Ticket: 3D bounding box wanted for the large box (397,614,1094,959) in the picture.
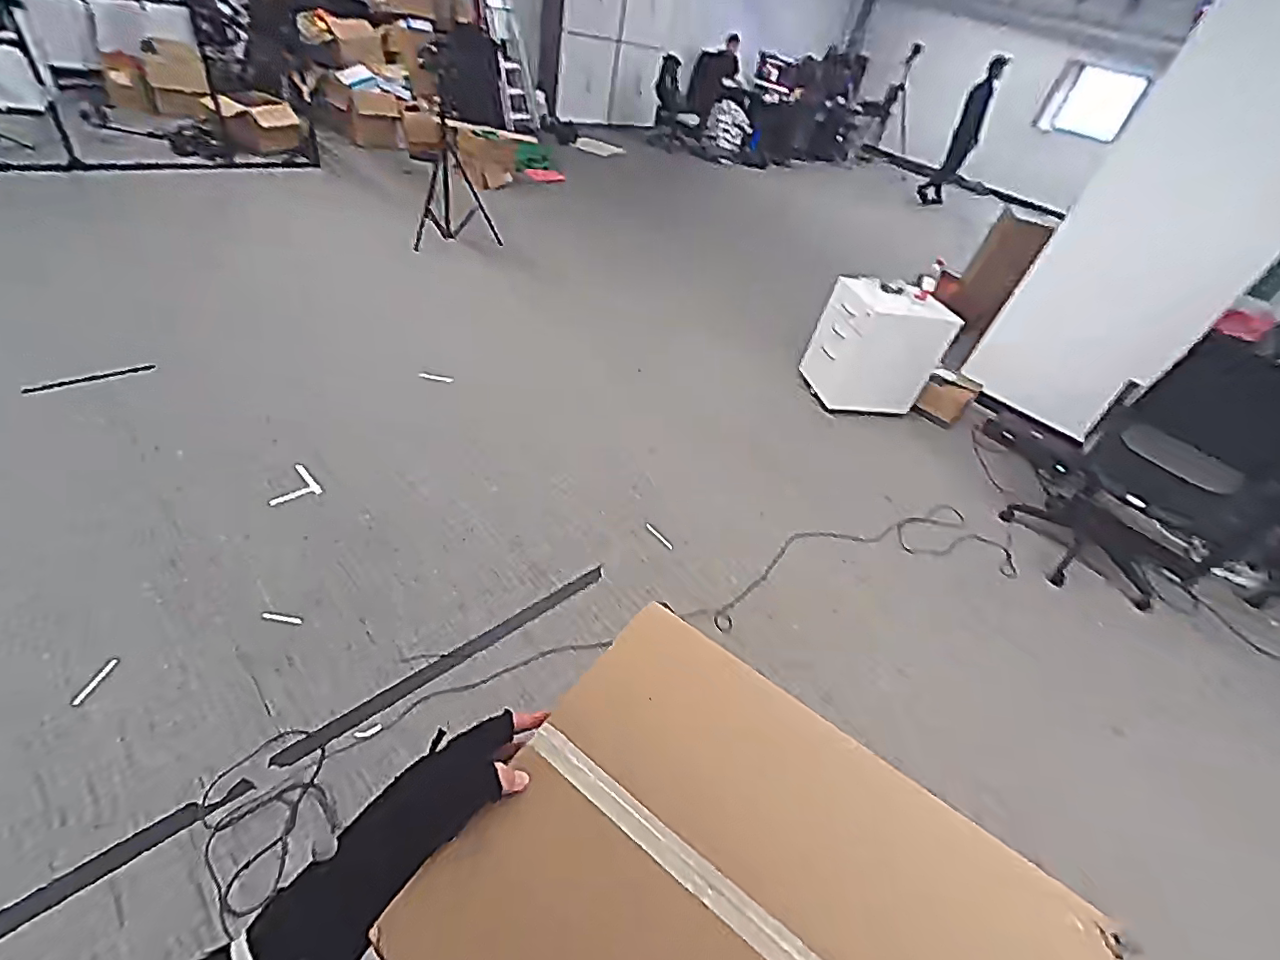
[{"bbox_3d":[0.069,0.406,0.483,0.408,0.320,0.320,32,52,21],"label":"large box"}]
